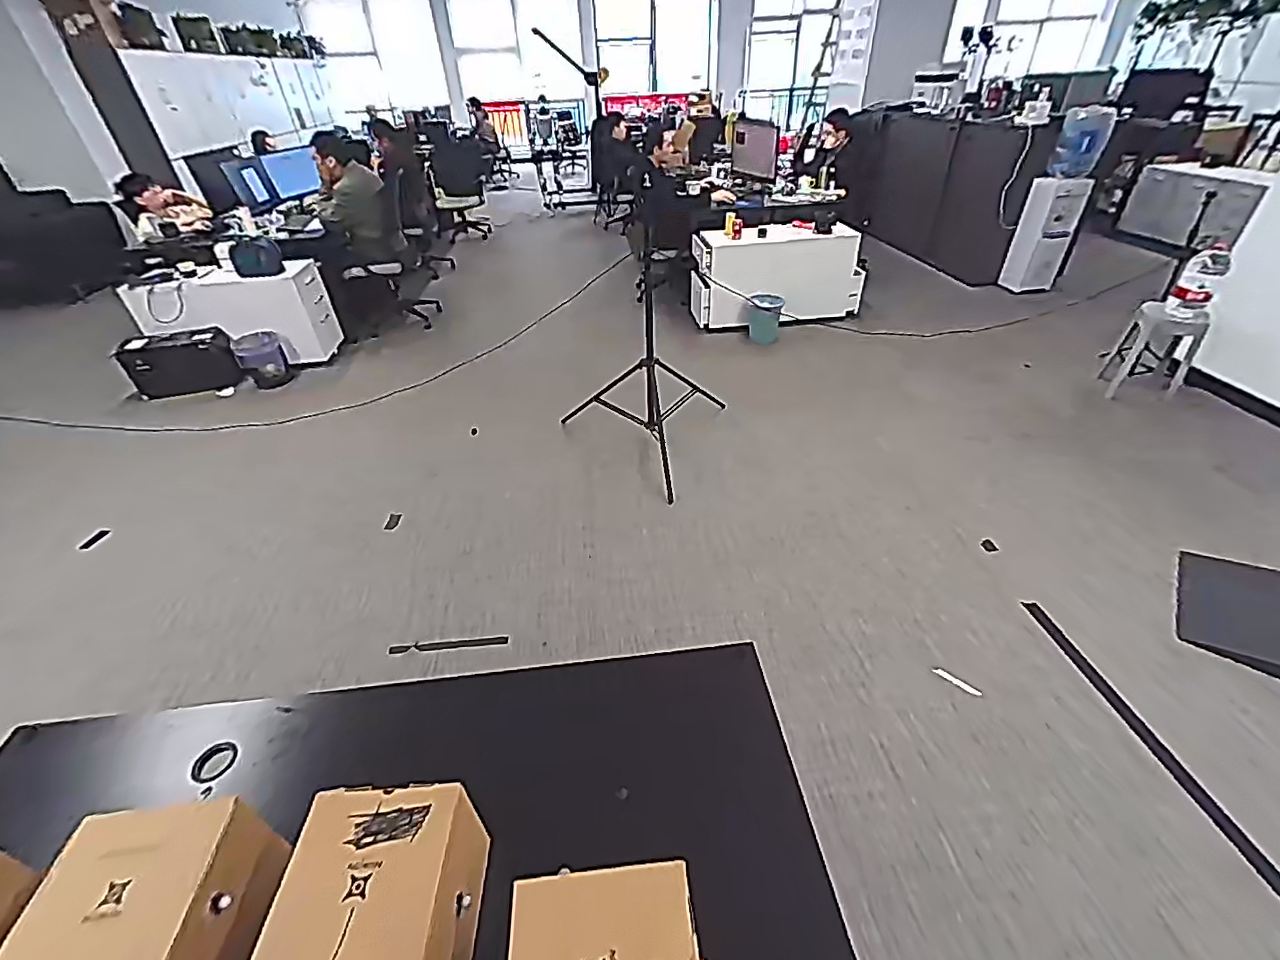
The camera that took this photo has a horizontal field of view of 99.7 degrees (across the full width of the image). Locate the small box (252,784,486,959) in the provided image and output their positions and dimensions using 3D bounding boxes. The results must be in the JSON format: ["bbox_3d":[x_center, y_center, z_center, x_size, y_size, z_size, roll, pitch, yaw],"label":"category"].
[{"bbox_3d":[-0.277,0.467,0.599,0.168,0.176,0.179,-3,38,-1],"label":"small box"}]

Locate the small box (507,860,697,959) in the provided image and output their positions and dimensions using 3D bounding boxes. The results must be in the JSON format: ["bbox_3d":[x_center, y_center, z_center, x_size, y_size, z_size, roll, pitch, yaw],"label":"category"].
[{"bbox_3d":[-0.030,0.507,0.531,0.179,0.176,0.168,-5,37,-3],"label":"small box"}]

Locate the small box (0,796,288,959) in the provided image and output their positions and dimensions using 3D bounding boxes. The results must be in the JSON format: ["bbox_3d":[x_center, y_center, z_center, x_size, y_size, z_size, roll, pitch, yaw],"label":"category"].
[{"bbox_3d":[-0.526,0.484,0.592,0.168,0.176,0.179,-5,36,-5],"label":"small box"}]
